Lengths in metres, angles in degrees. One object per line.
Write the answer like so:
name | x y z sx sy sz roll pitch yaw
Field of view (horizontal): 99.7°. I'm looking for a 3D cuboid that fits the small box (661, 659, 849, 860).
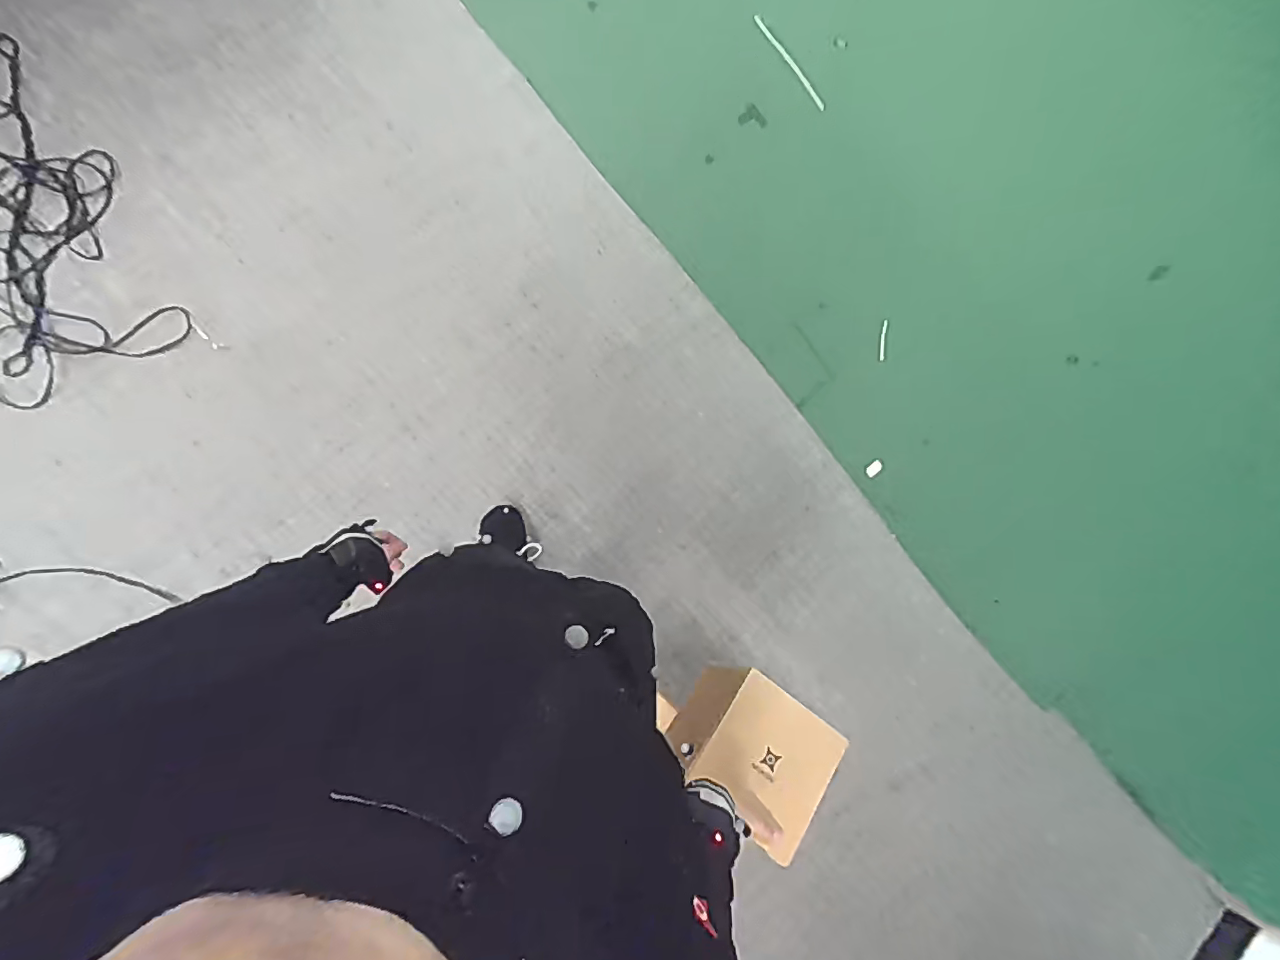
small box | 0.150 0.373 0.764 0.168 0.176 0.179 37 71 0
